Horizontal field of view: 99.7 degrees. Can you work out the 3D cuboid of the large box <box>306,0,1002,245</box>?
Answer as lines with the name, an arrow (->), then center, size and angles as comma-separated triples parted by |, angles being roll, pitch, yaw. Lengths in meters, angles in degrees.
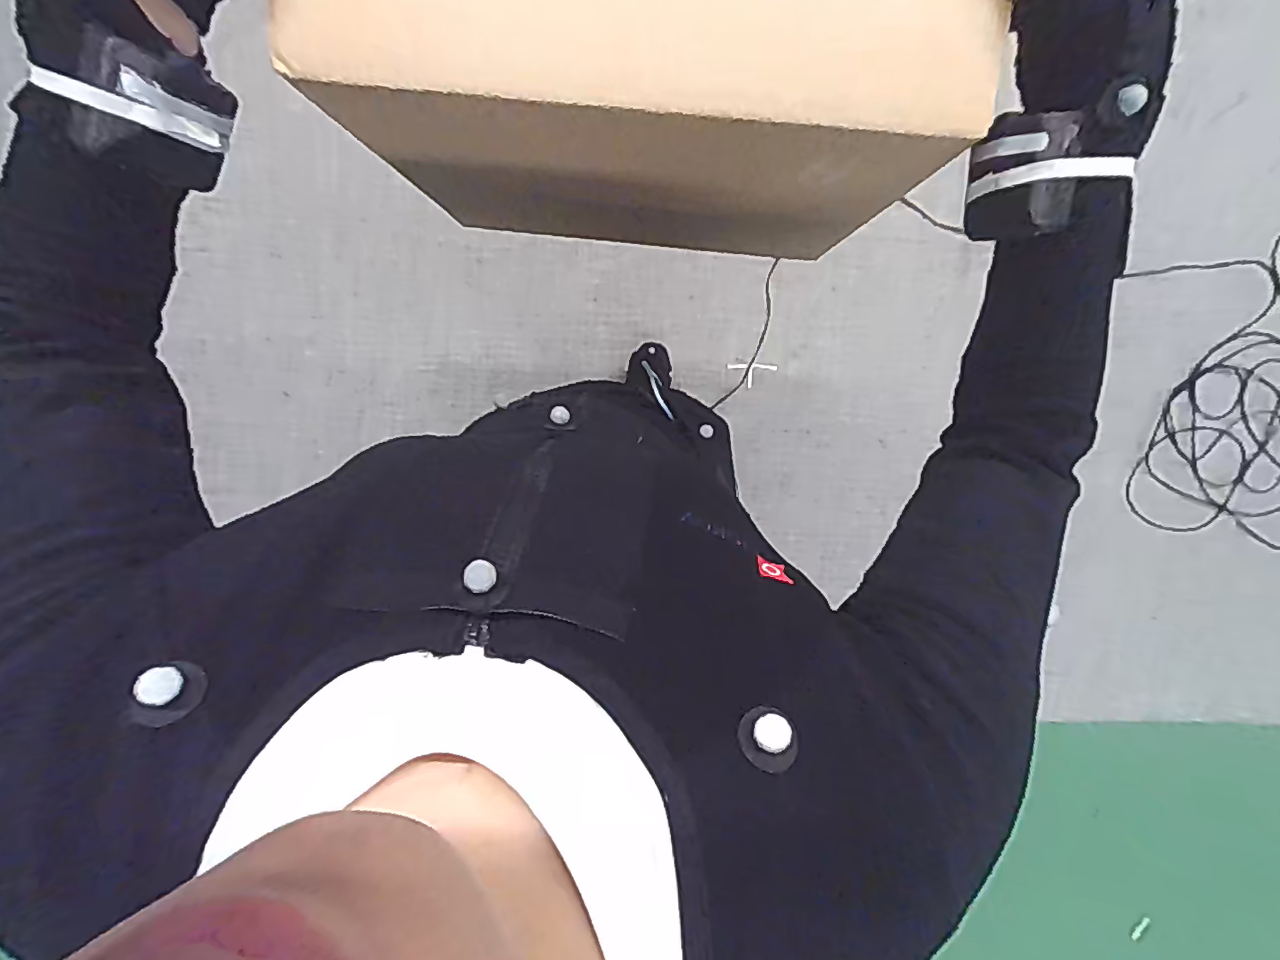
large box -> 0.016, -0.399, 0.435 | 0.408, 0.320, 0.320 | 5, 101, 0
